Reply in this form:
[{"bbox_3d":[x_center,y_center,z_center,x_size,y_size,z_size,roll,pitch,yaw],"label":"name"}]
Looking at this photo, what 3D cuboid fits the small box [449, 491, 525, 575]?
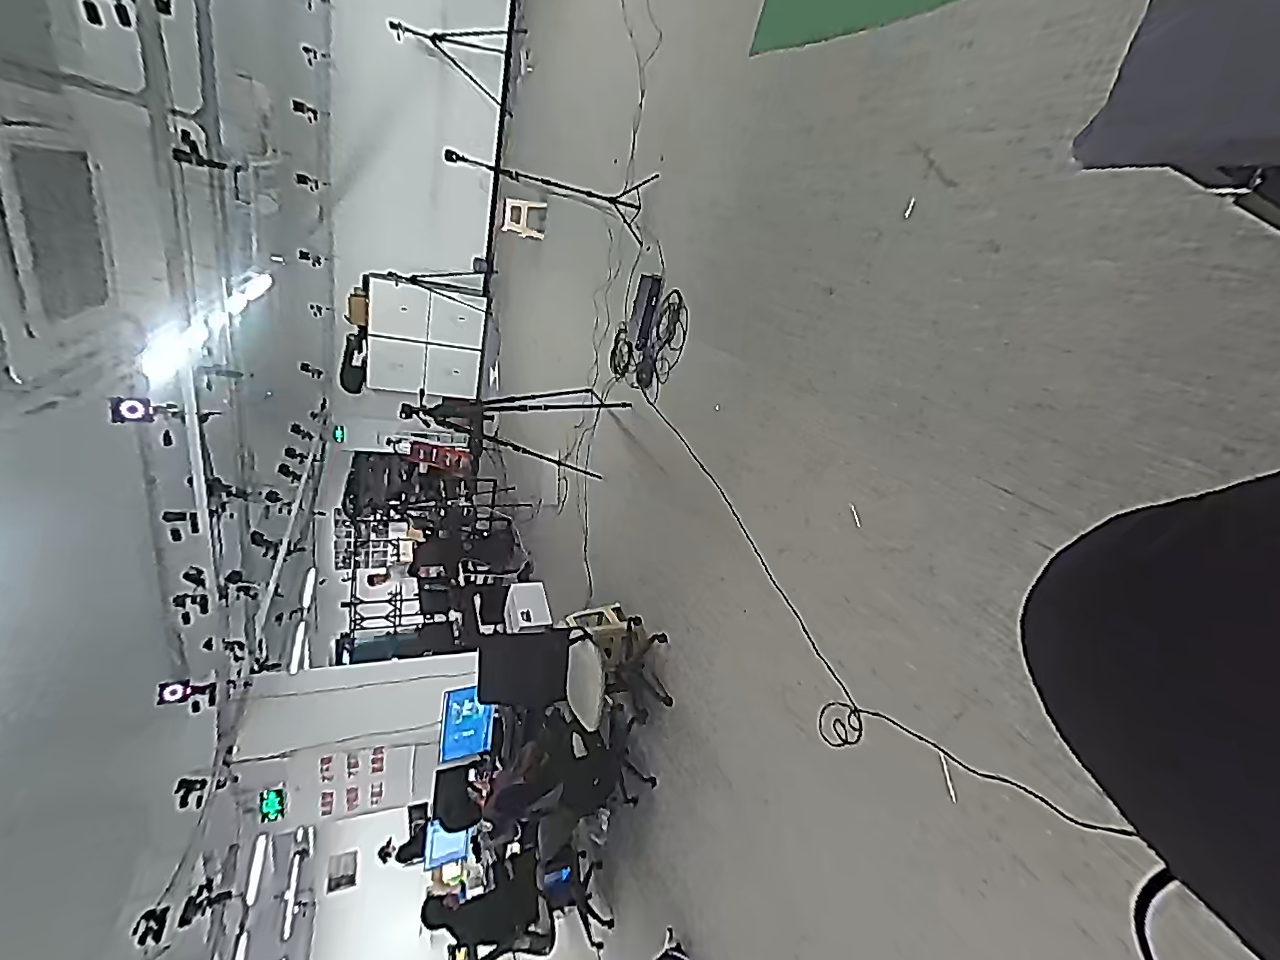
[{"bbox_3d":[-0.464,0.152,1.642,0.168,0.176,0.179,-23,151,-21],"label":"small box"}]
